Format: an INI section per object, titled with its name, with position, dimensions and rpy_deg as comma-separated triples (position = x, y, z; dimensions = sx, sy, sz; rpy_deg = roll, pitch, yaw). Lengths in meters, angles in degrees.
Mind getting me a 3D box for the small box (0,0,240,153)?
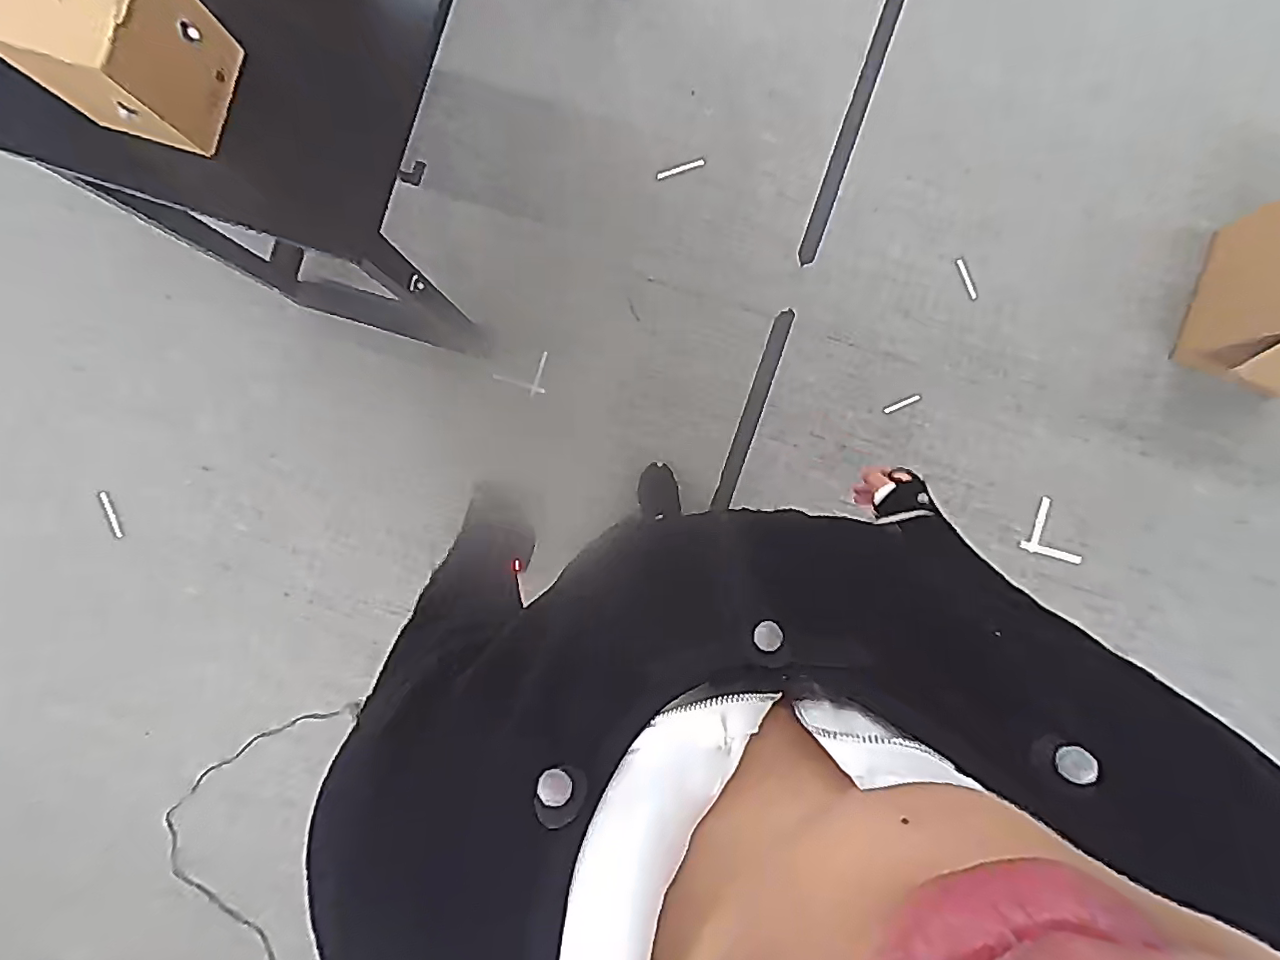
[small box]
position = -0.681, -0.570, 0.711
dimensions = 0.179, 0.176, 0.168
rpy_deg = 16, 88, 1
